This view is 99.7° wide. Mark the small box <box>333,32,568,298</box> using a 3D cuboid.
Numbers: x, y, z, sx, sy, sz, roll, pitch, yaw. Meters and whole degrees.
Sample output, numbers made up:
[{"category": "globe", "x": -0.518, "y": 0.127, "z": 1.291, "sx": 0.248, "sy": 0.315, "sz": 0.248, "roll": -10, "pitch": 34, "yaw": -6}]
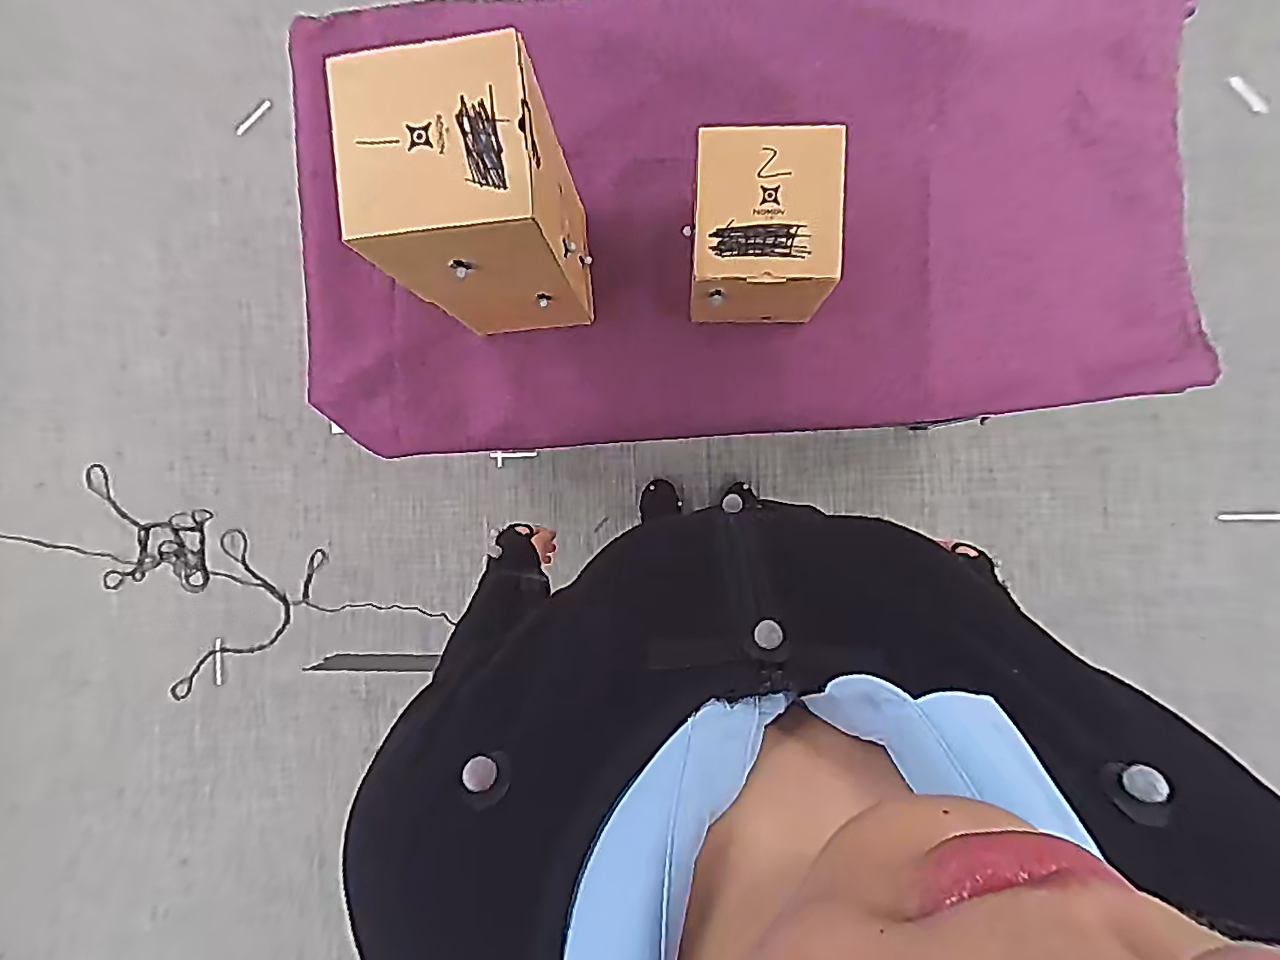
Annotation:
[{"category": "small box", "x": -0.174, "y": -0.299, "z": 0.551, "sx": 0.179, "sy": 0.176, "sz": 0.168, "roll": -5, "pitch": 90, "yaw": 4}]

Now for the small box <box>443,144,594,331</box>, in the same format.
[{"category": "small box", "x": -0.165, "y": -0.304, "z": 0.715, "sx": 0.179, "sy": 0.176, "sz": 0.168, "roll": -5, "pitch": 90, "yaw": 3}]
